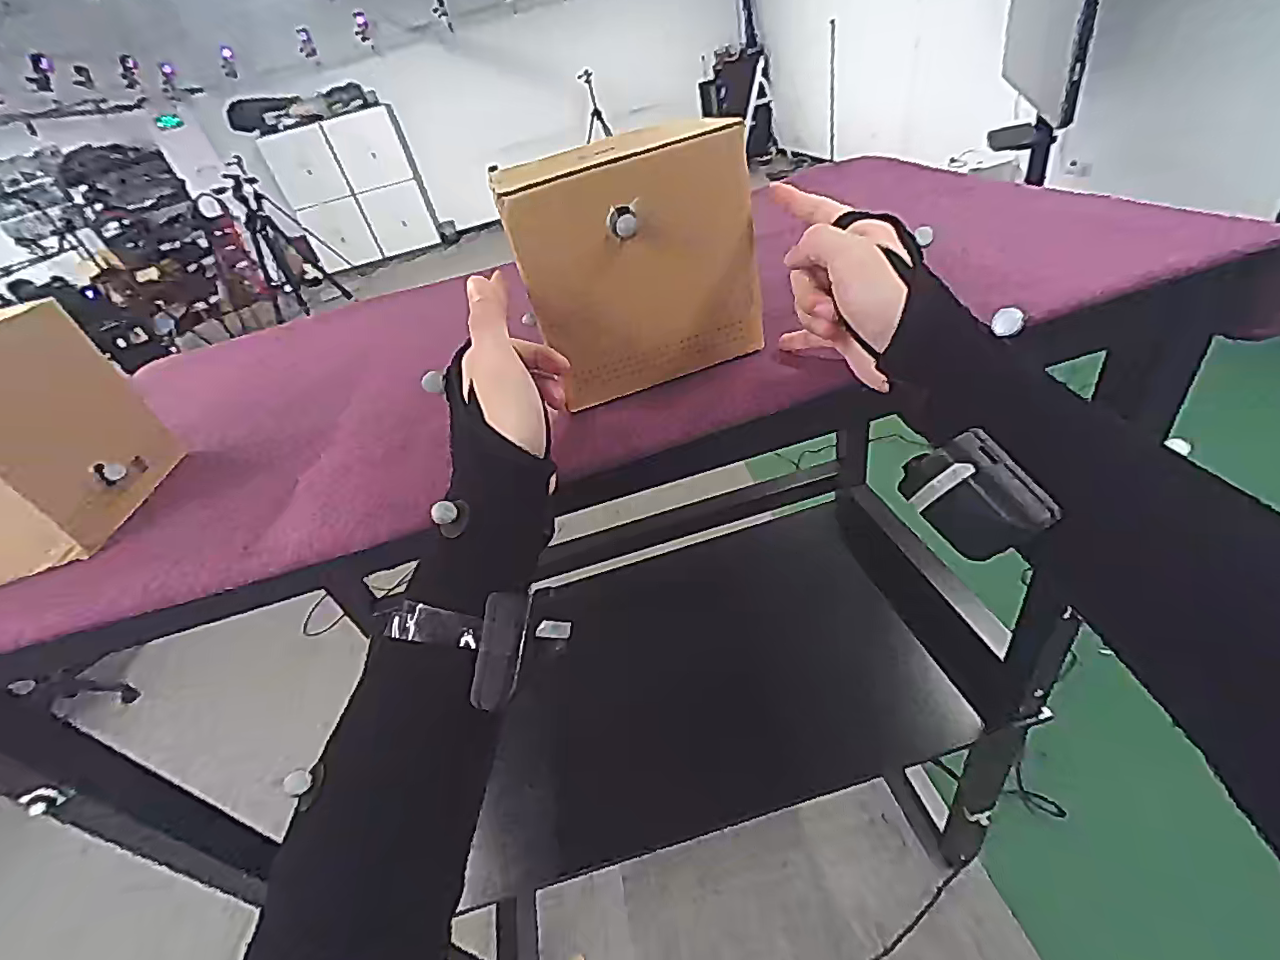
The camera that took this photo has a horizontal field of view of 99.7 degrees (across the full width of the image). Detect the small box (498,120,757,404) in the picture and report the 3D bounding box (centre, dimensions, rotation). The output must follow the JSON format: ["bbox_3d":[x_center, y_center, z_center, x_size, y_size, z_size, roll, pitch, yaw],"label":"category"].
[{"bbox_3d":[-0.008,-0.192,0.471,0.179,0.176,0.168,-20,36,-4],"label":"small box"}]

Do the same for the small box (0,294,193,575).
[{"bbox_3d":[-0.540,-0.028,0.444,0.179,0.176,0.168,-16,37,-3],"label":"small box"}]
